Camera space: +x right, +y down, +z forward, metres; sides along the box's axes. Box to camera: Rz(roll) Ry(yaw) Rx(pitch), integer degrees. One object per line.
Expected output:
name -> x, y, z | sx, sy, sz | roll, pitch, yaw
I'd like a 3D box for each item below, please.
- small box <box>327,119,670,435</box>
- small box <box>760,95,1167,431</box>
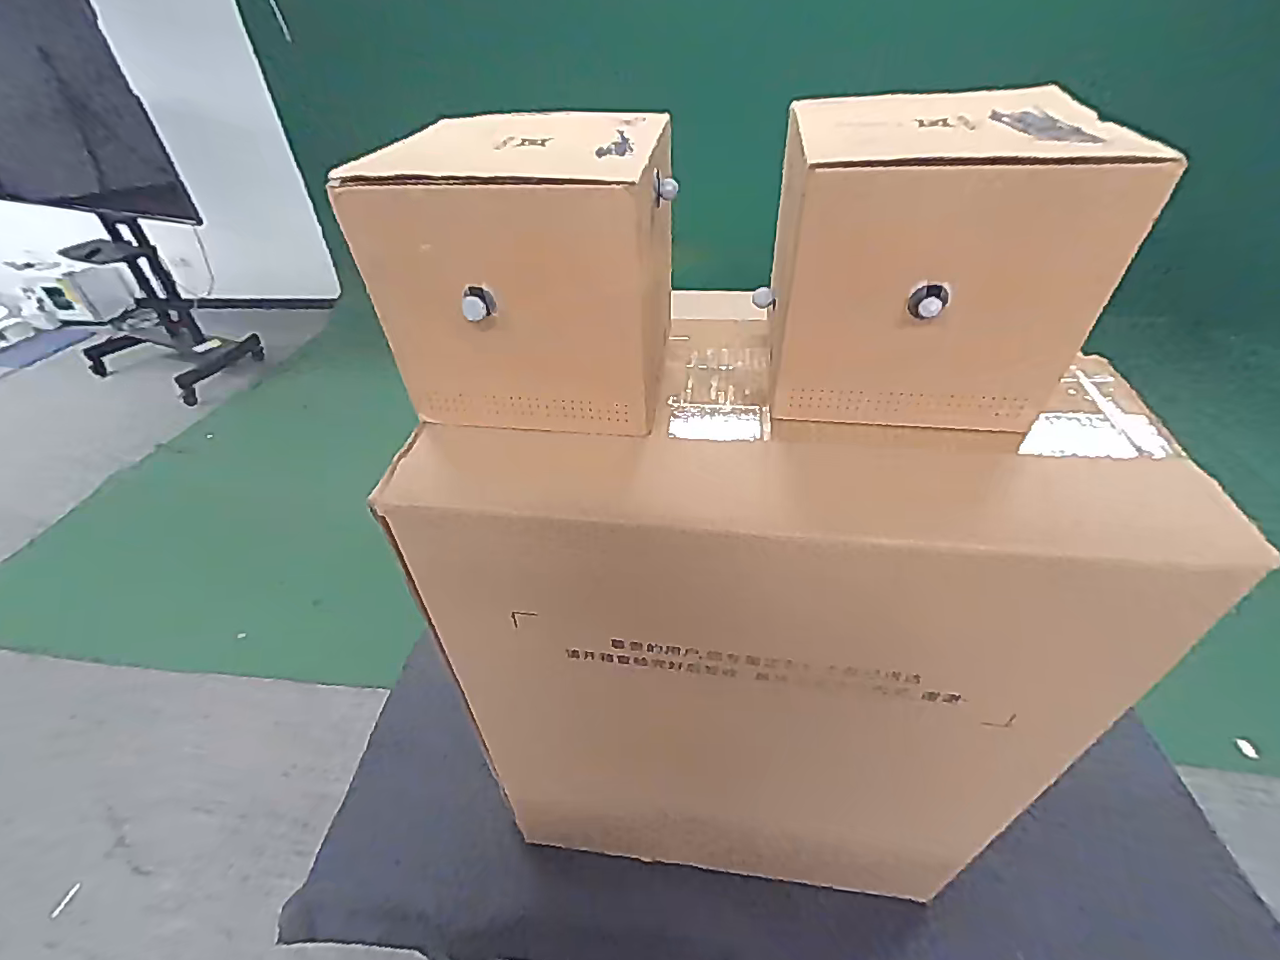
small box -> -0.074, -0.148, 0.398 | 0.179, 0.176, 0.168 | 4, 44, 8
small box -> 0.183, -0.149, 0.379 | 0.179, 0.176, 0.168 | 4, 45, 9
